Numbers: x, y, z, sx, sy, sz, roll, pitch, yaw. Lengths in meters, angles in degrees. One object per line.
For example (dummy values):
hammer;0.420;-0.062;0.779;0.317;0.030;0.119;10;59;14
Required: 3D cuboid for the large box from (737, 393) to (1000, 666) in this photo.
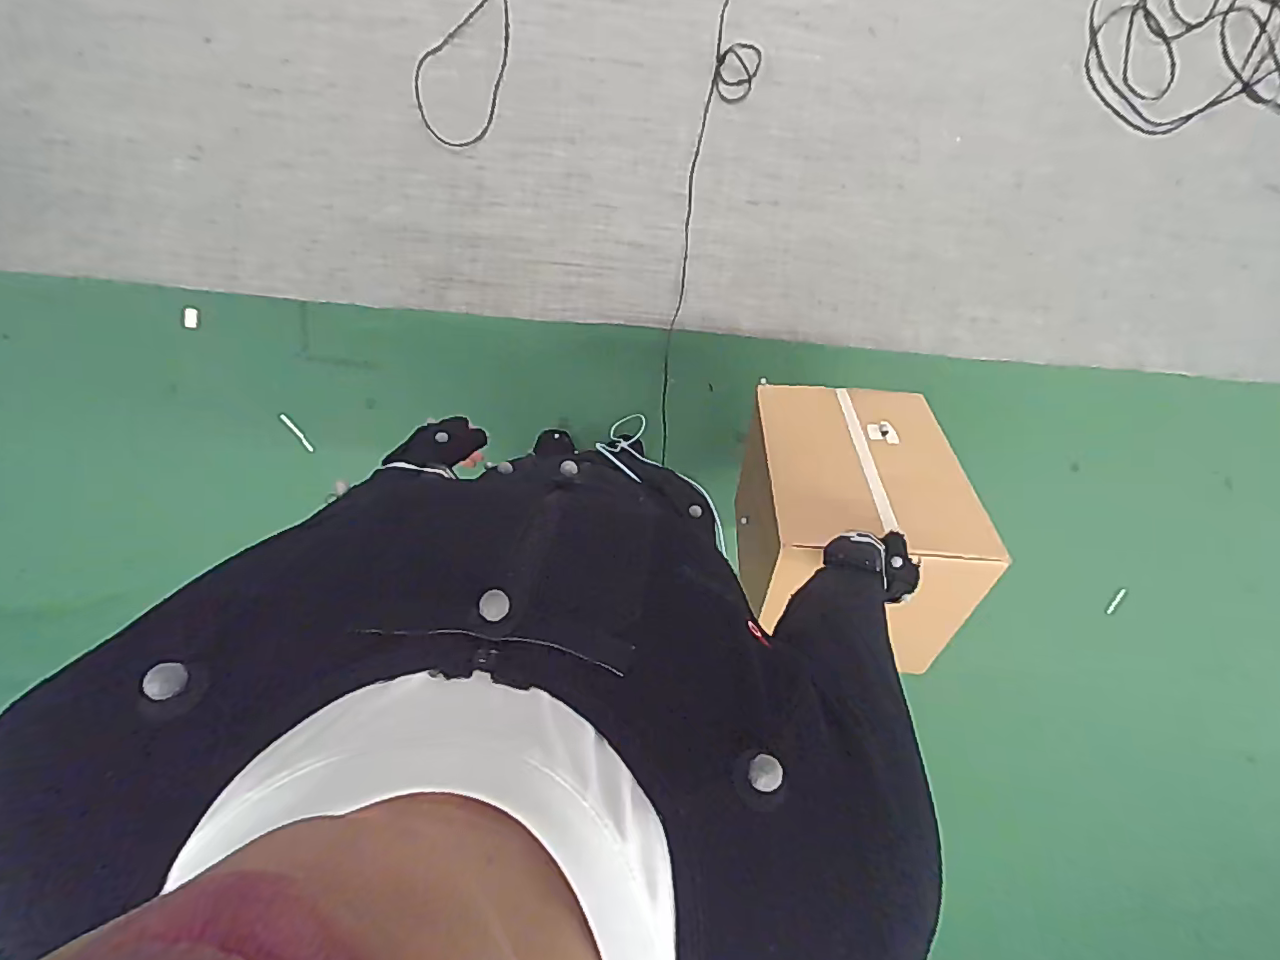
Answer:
large box;0.362;0.084;1.000;0.320;0.408;0.320;4;132;2
